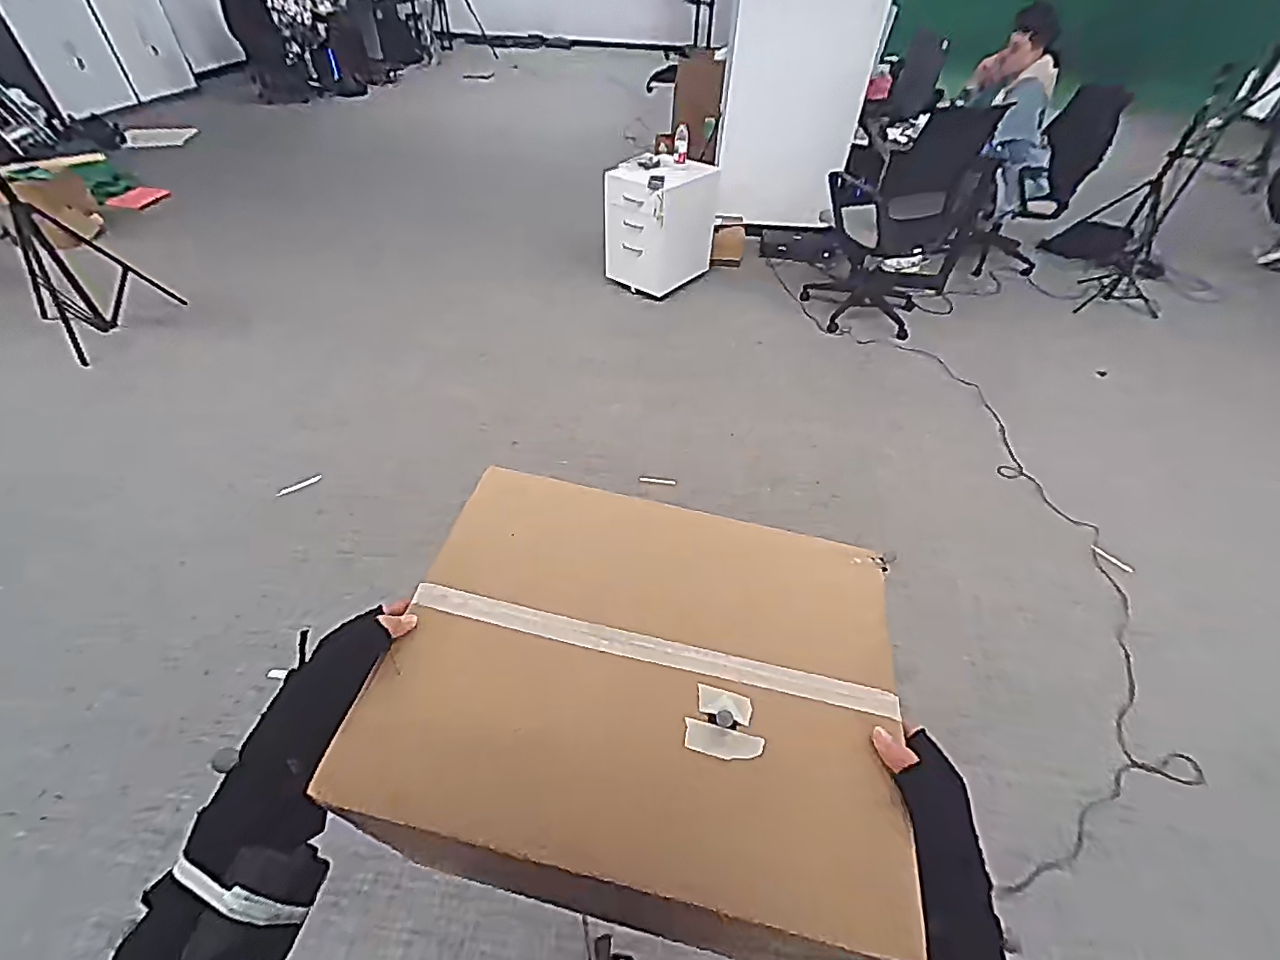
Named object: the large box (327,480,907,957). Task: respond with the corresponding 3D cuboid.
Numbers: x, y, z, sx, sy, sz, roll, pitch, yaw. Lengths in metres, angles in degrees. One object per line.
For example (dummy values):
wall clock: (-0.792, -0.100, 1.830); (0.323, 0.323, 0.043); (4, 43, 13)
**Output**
large box: (-0.008, 0.247, 0.563); (0.408, 0.320, 0.320); (13, 49, 4)
